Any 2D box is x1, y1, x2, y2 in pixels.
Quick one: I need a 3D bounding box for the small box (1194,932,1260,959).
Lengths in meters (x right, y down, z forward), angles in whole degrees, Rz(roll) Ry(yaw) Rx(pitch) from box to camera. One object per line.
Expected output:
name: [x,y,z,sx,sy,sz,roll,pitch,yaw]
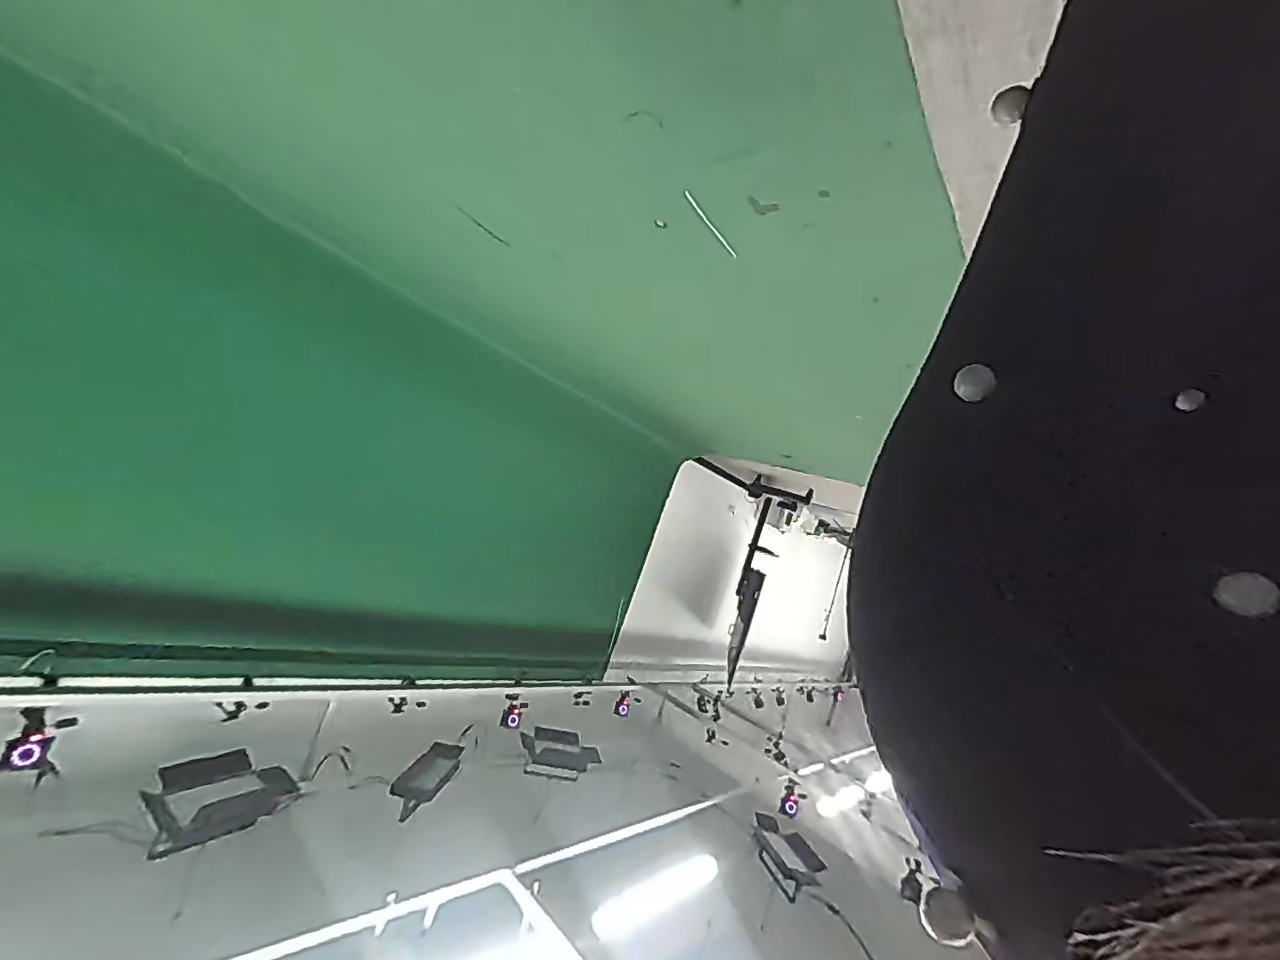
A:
small box: [1.639,1.393,1.476,0.168,0.176,0.179,17,175,45]
